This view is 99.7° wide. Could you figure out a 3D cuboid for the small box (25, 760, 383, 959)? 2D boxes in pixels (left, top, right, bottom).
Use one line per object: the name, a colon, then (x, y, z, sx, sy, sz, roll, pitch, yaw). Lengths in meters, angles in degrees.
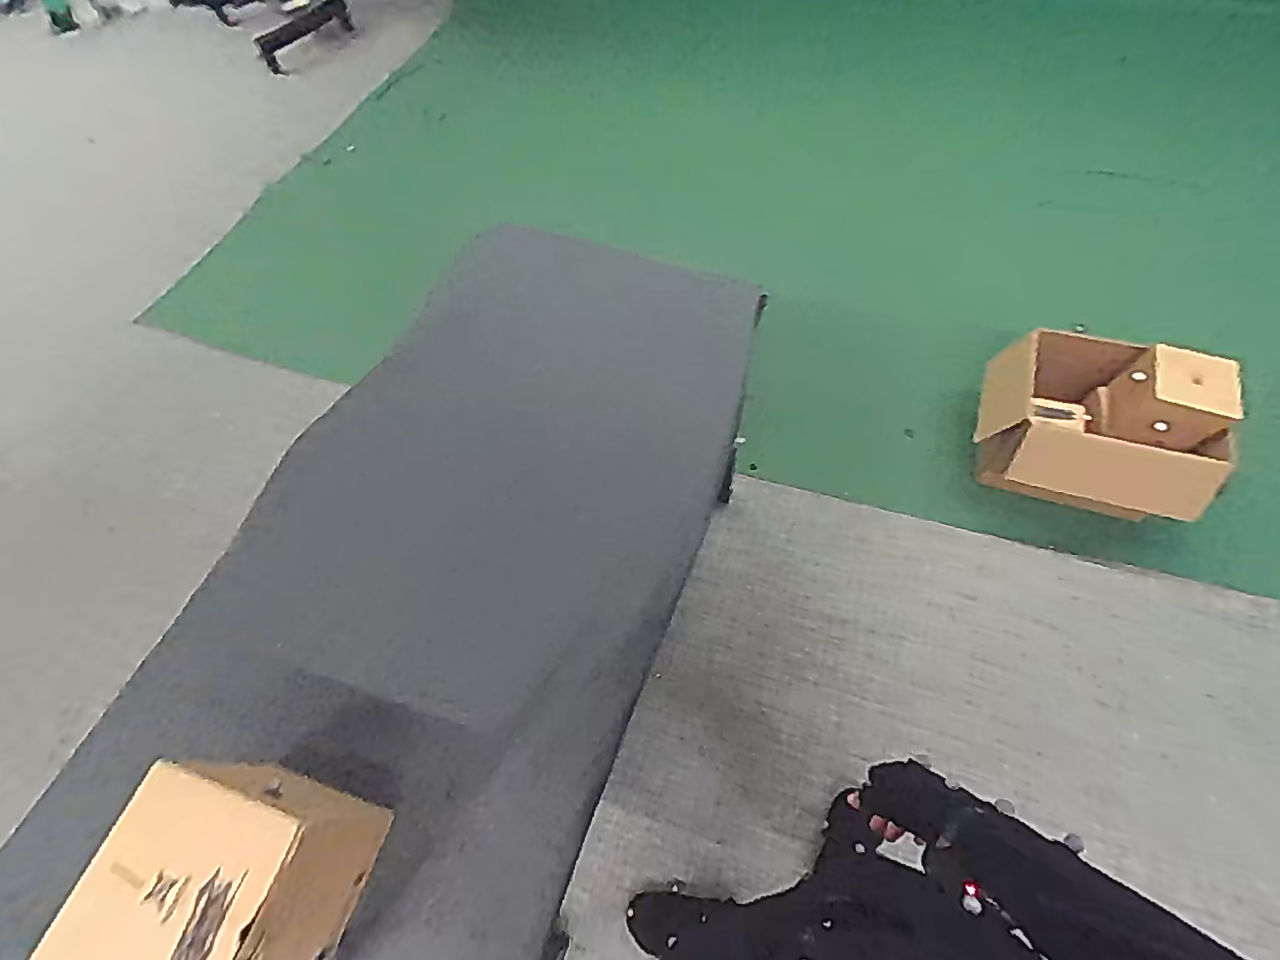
small box: (-0.393, 0.388, 0.526, 0.179, 0.176, 0.168, 12, 63, 13)
